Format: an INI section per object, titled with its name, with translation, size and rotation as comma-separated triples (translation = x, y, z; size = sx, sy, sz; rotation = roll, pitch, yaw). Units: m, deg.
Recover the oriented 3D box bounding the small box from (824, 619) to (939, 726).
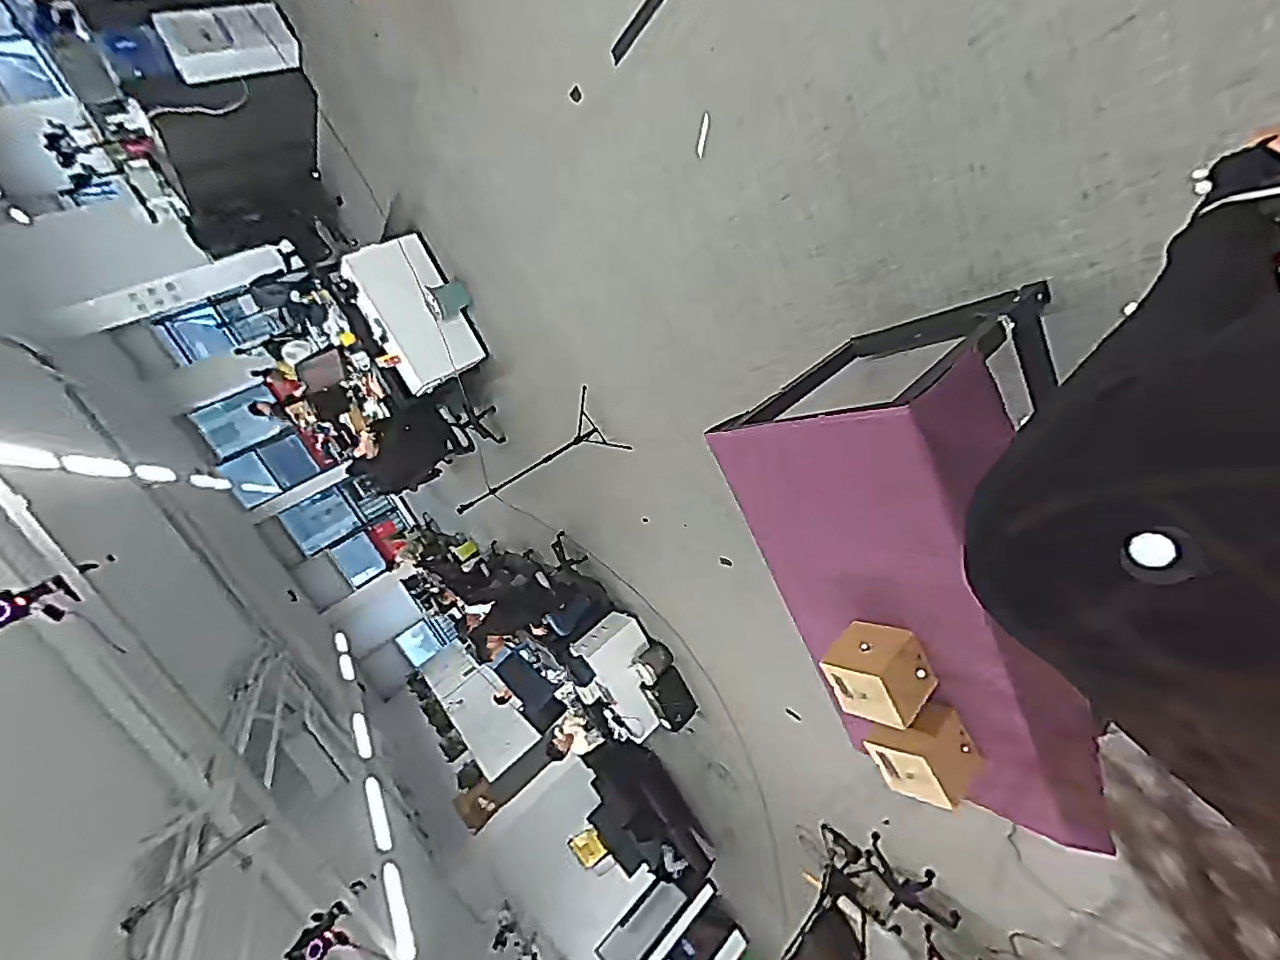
[small box]
translation = 0.607, 0.471, 1.356
size = 0.179, 0.176, 0.168
rotation = -9, 113, 59
